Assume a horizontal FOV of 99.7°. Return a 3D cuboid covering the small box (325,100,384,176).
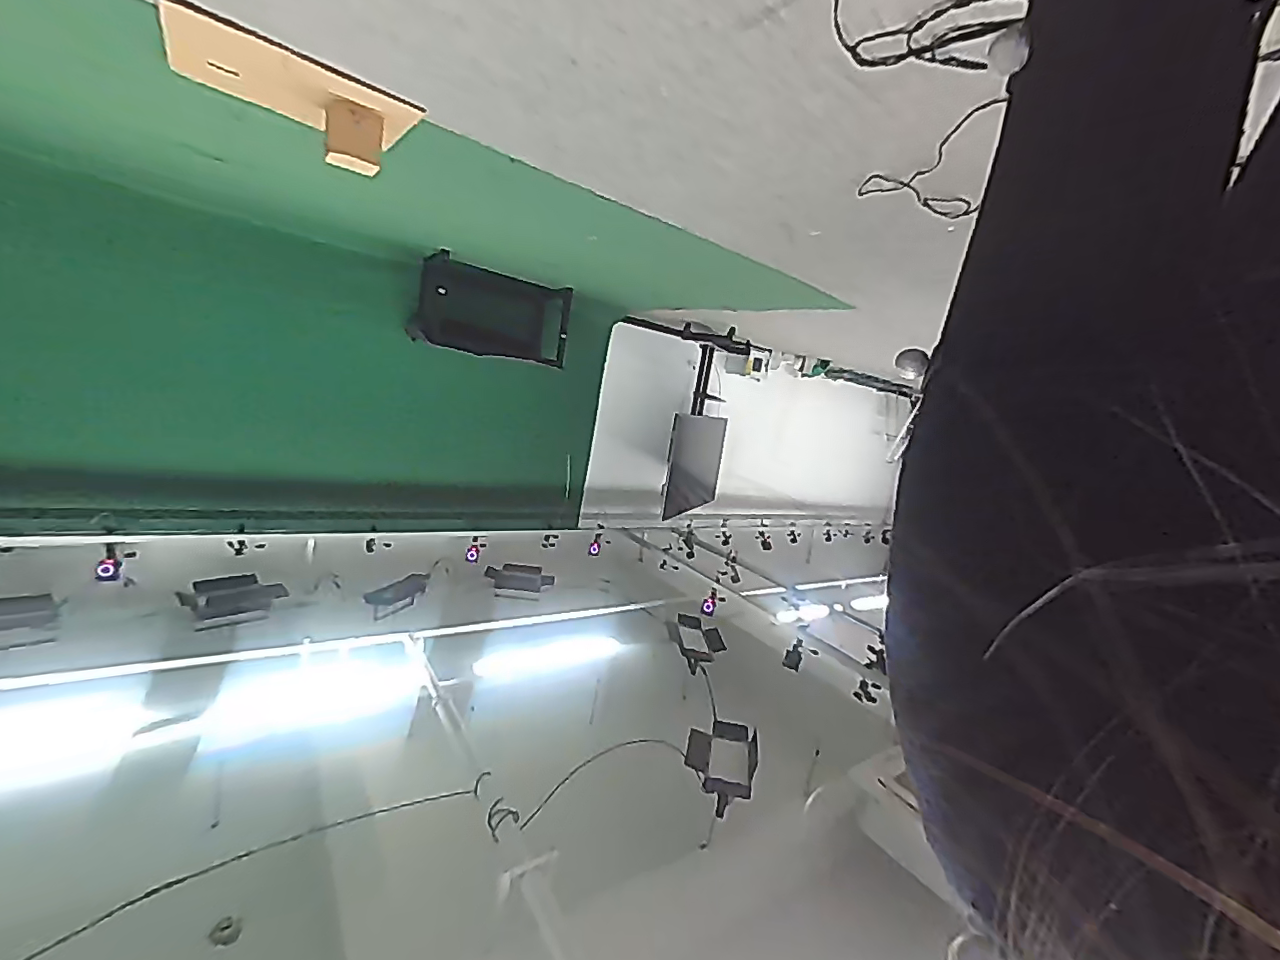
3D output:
[{"bbox_3d":[-1.054,-1.257,1.994,0.168,0.176,0.179,1,-167,-38],"label":"small box"}]
